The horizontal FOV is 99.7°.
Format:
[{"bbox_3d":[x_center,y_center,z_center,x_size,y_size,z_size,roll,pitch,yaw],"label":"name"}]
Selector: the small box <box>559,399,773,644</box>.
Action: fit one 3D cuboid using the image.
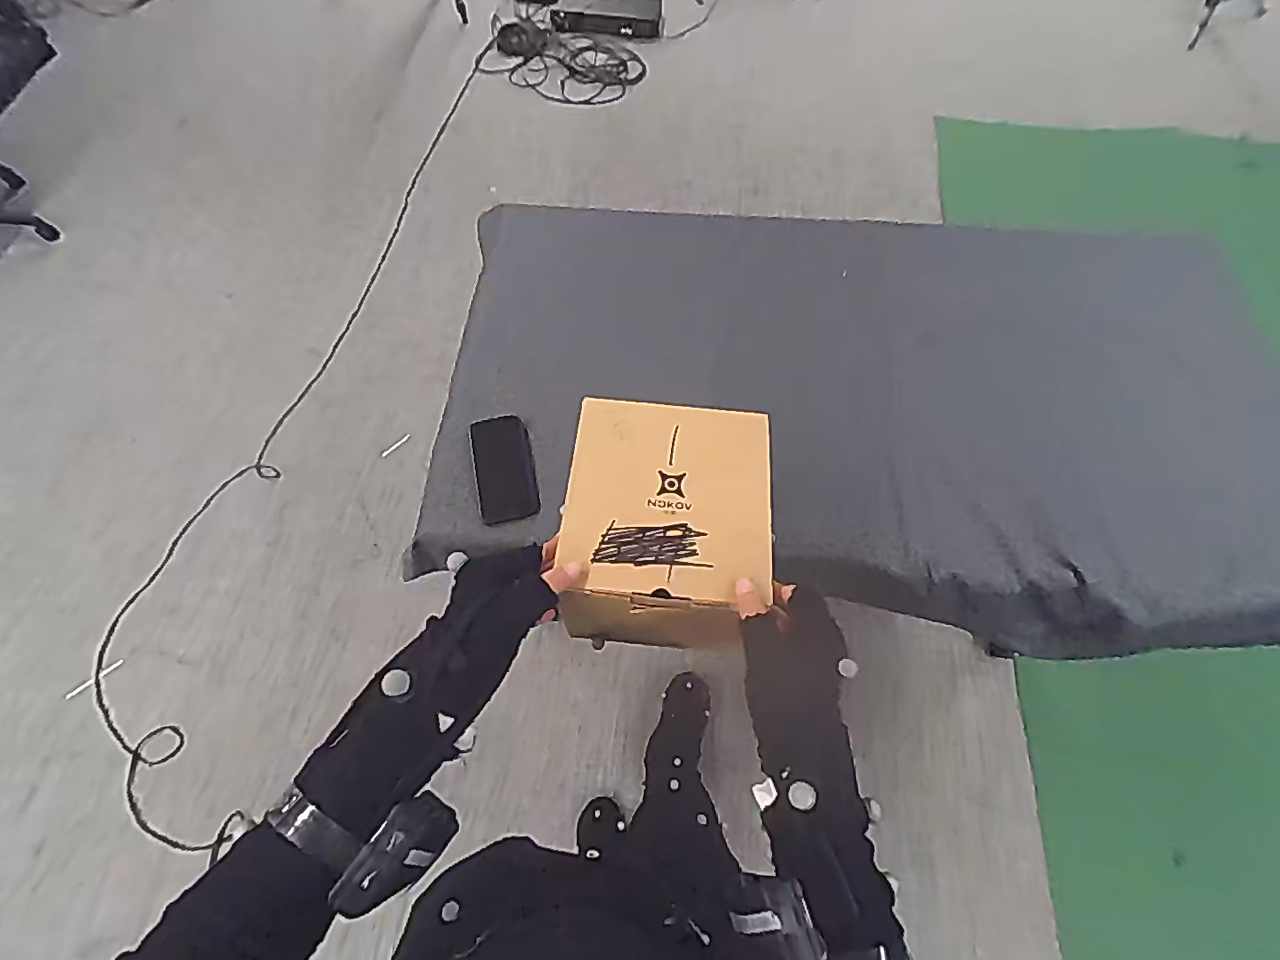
[{"bbox_3d":[0.026,0.048,0.515,0.168,0.176,0.179,6,61,1],"label":"small box"}]
